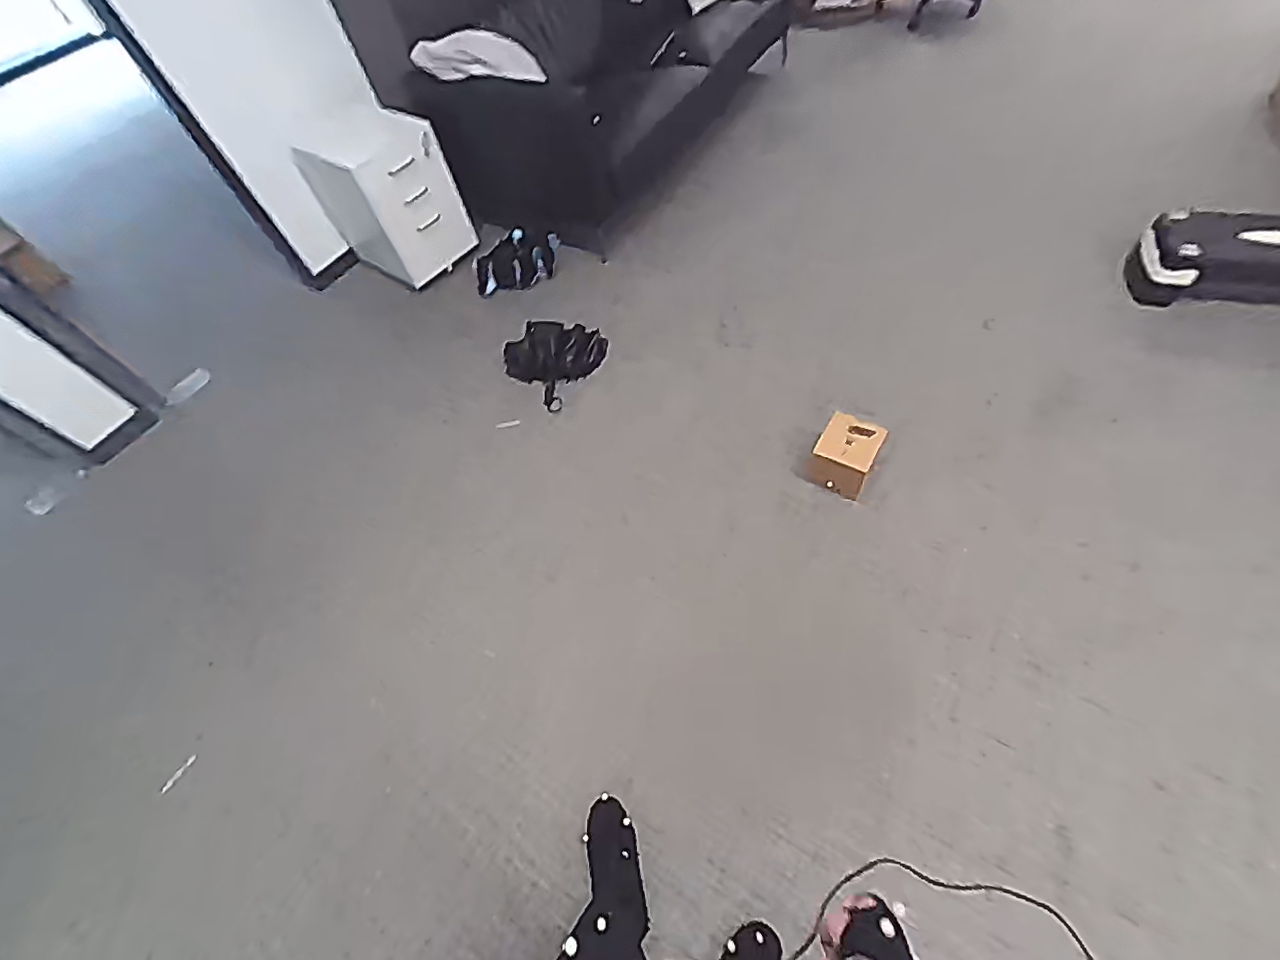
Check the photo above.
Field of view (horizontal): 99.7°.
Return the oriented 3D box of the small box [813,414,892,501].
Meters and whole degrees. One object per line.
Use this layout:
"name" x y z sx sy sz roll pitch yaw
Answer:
"small box" 0.646 -0.068 1.665 0.168 0.176 0.179 25 65 25
